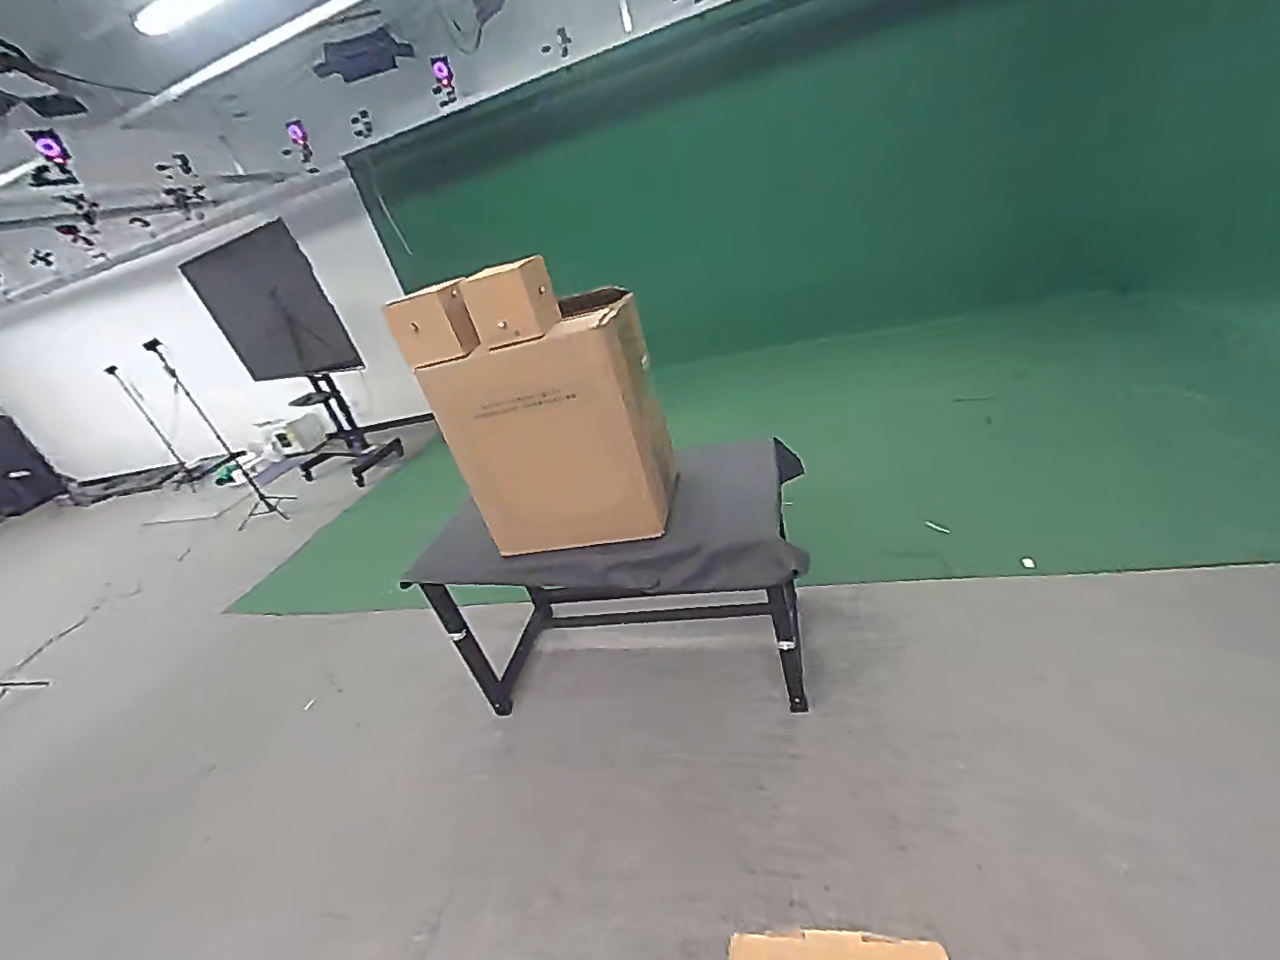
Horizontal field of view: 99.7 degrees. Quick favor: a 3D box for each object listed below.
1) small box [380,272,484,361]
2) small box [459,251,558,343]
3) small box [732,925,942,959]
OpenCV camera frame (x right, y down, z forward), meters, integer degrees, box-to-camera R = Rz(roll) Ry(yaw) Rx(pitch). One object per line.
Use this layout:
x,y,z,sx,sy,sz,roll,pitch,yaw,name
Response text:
-0.532,-0.426,1.421,0.179,0.176,0.168,-8,30,17,small box
-0.321,-0.461,1.367,0.168,0.176,0.179,-7,31,16,small box
0.149,0.471,0.385,0.168,0.176,0.179,-1,22,4,small box
